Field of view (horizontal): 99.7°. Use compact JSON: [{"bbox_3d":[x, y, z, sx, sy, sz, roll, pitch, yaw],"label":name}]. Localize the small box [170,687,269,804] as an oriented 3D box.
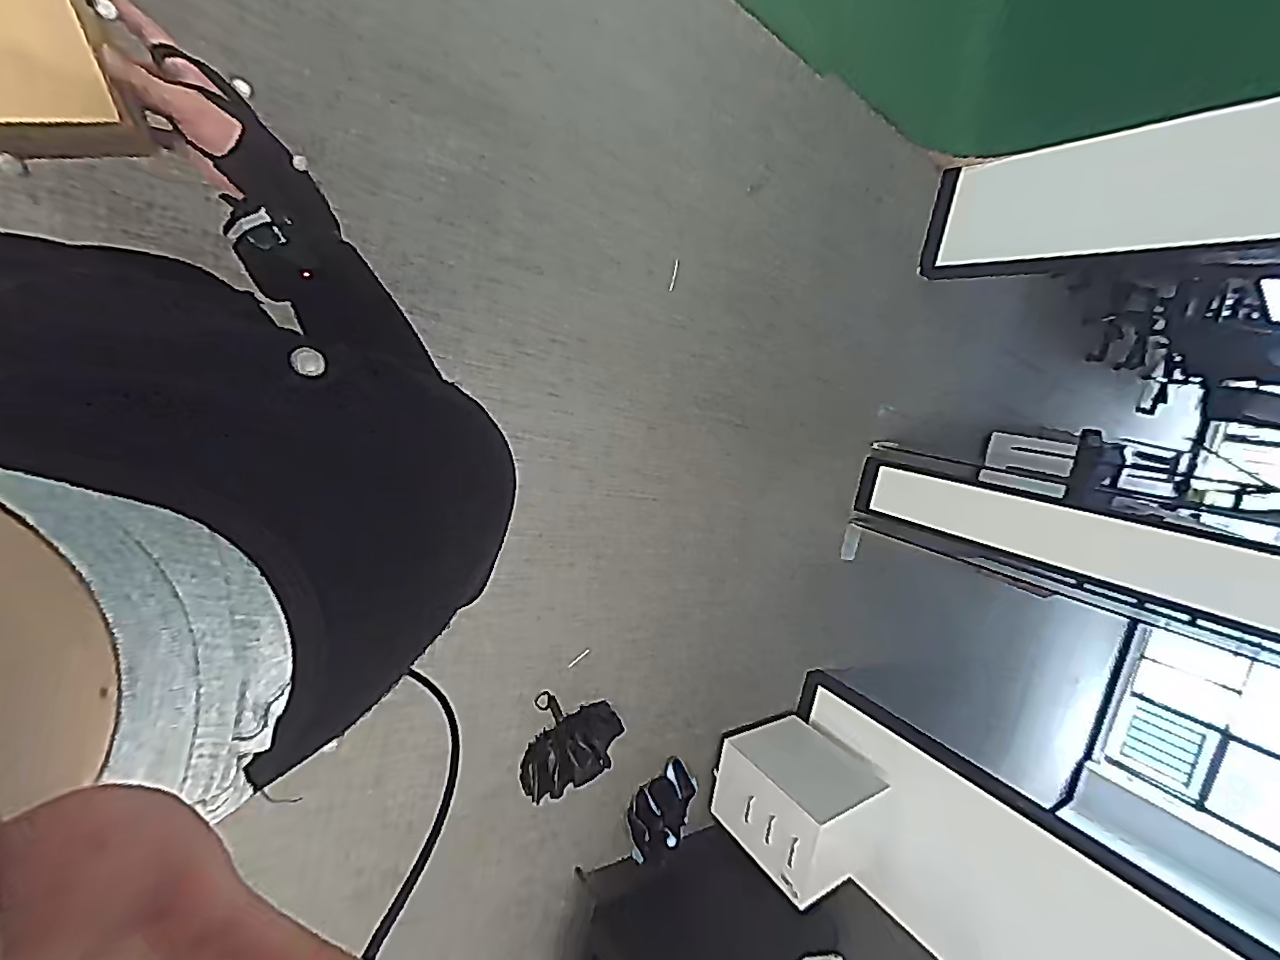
[{"bbox_3d":[-1.030,0.639,1.335,0.168,0.176,0.179,-10,111,-32],"label":"small box"}]
